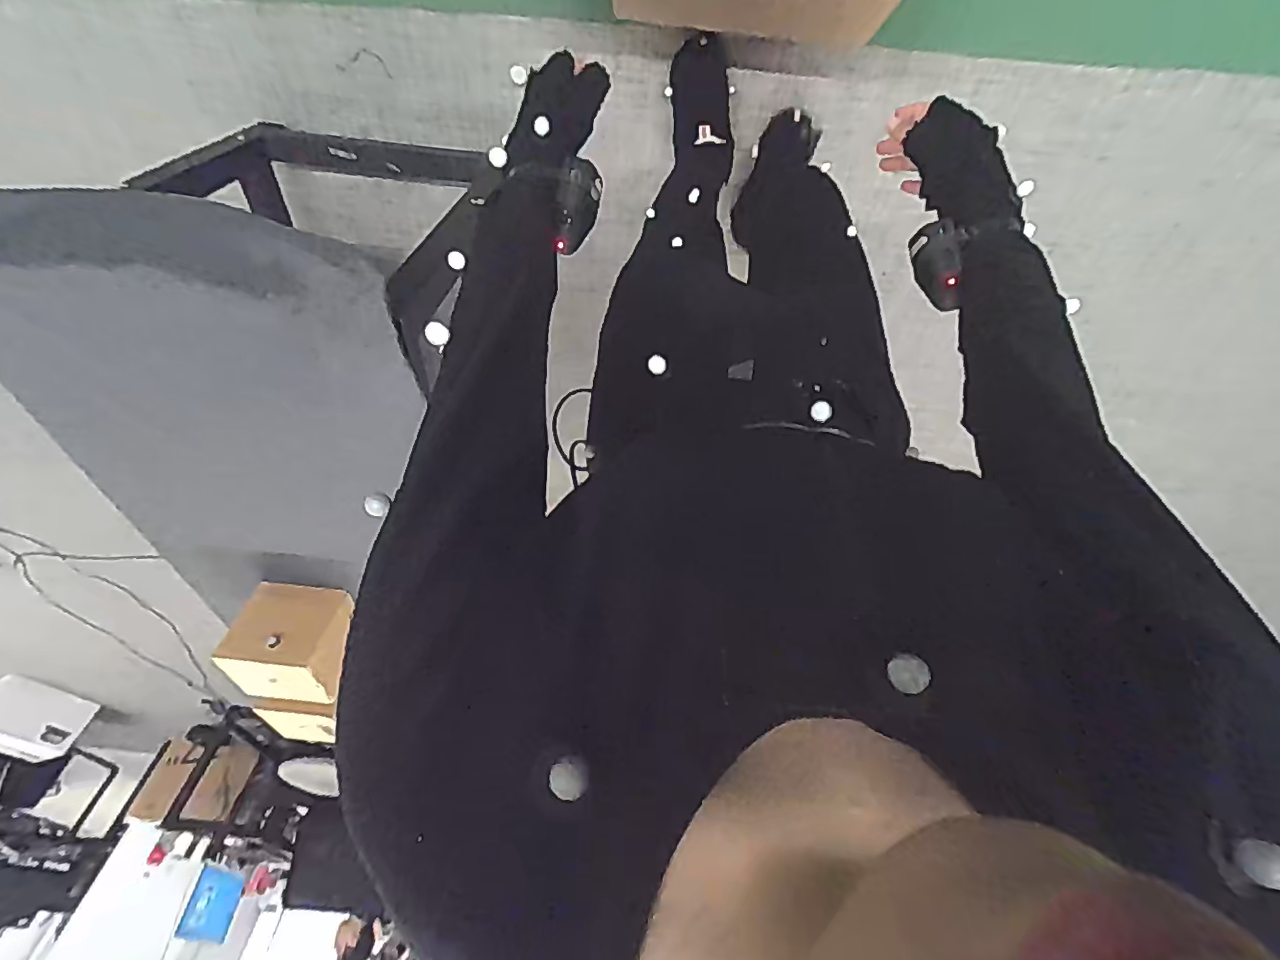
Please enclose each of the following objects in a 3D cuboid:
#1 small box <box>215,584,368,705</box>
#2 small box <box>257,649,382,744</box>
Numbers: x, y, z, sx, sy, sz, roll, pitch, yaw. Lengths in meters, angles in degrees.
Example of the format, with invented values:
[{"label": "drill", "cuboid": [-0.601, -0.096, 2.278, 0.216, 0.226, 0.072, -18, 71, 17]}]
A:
[{"label": "small box", "cuboid": [-0.683, 0.327, 1.086, 0.179, 0.176, 0.168, 6, 135, -1]}, {"label": "small box", "cuboid": [-0.726, 0.492, 1.254, 0.179, 0.176, 0.168, 5, 135, 2]}]
